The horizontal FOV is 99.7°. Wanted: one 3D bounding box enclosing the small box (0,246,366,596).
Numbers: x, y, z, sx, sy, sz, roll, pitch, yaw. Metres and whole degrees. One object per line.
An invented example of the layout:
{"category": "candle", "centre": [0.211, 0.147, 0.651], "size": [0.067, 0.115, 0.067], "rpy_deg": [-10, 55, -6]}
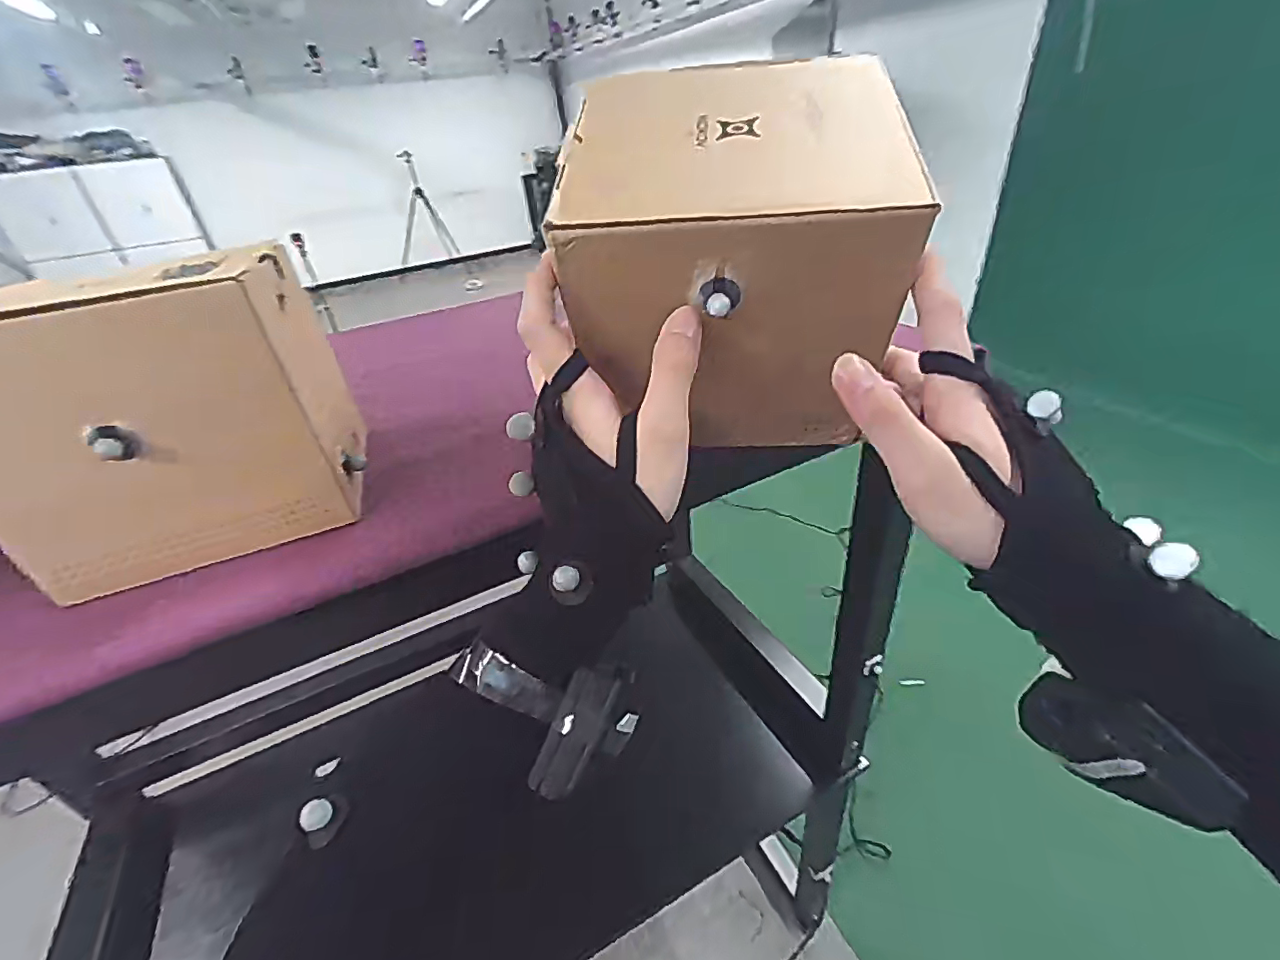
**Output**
{"category": "small box", "centre": [-0.316, -0.051, 0.384], "size": [0.179, 0.176, 0.168], "rpy_deg": [-19, 34, -14]}

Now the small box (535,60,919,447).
{"category": "small box", "centre": [0.053, -0.134, 0.352], "size": [0.179, 0.176, 0.168], "rpy_deg": [1, 57, 9]}
